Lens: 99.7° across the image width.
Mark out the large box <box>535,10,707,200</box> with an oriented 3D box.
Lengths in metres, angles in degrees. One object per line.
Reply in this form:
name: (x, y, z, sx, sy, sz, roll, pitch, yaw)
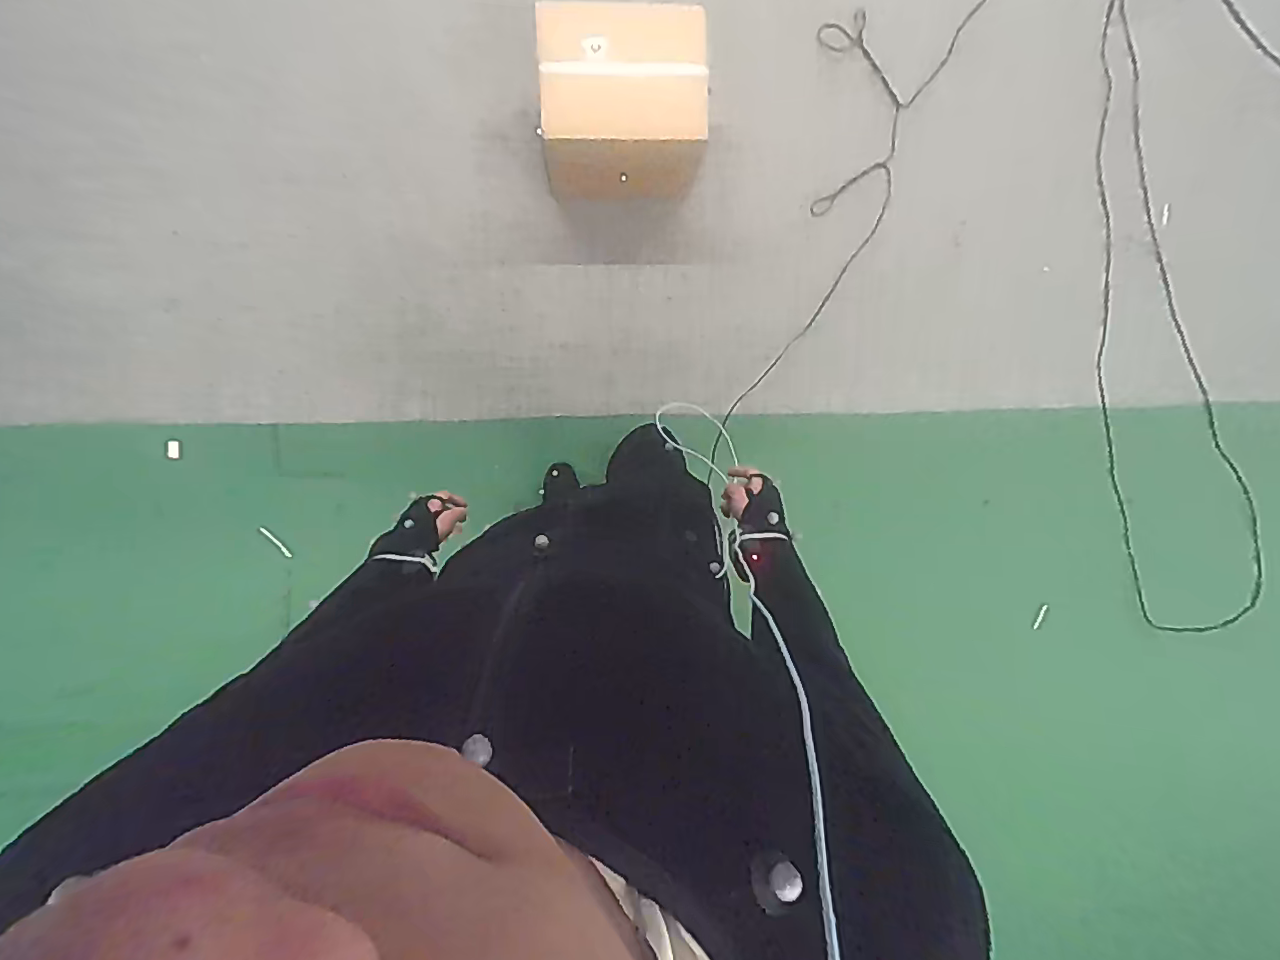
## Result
large box: (-0.049, -0.975, 1.446, 0.408, 0.320, 0.320, -3, 93, -3)
